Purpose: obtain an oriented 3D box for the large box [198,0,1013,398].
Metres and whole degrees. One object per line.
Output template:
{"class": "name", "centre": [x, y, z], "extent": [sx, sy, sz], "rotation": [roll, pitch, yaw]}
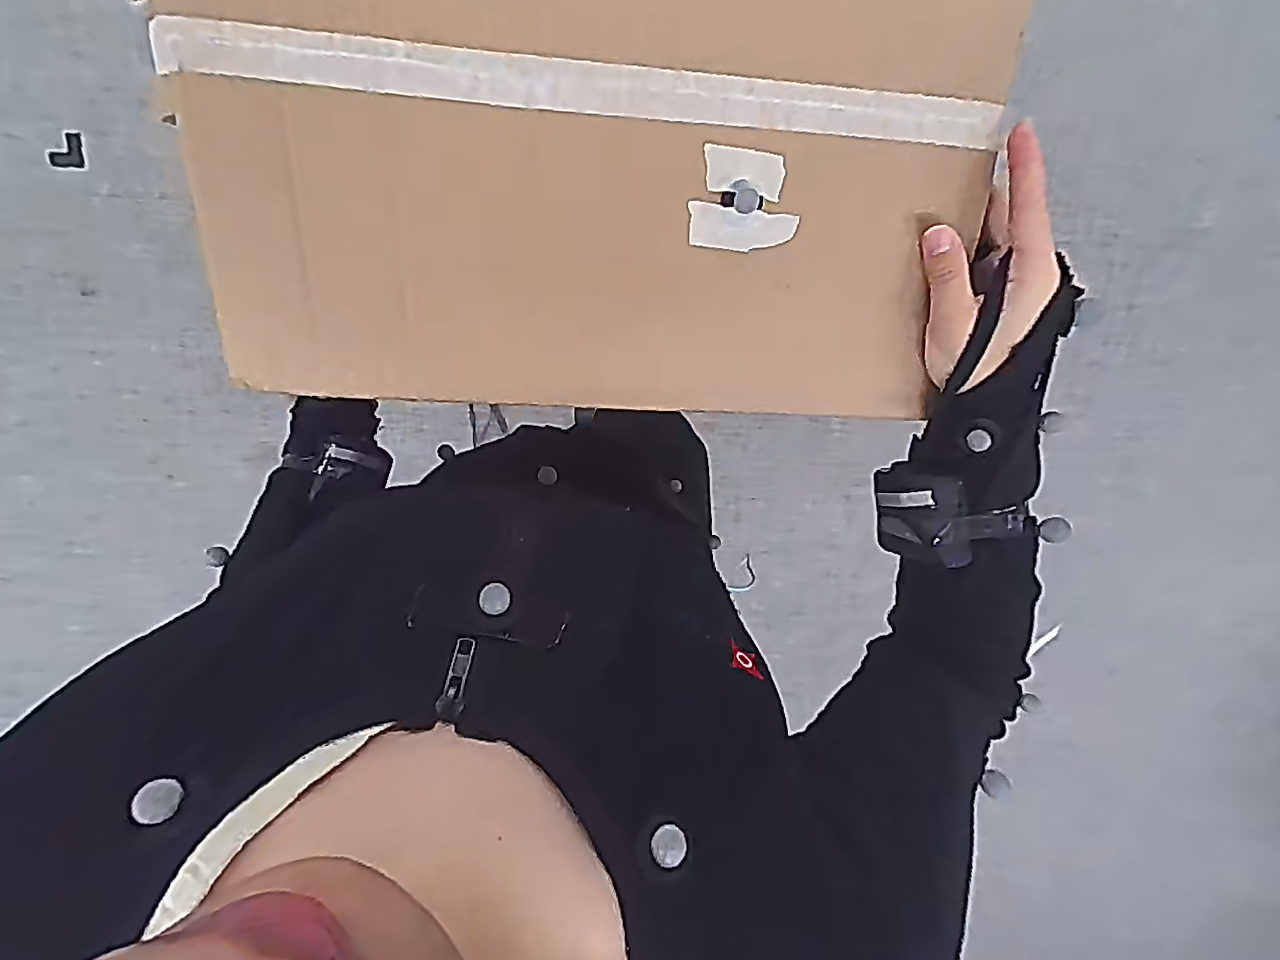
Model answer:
{"class": "large box", "centre": [-0.025, -0.244, 0.417], "extent": [0.408, 0.320, 0.320], "rotation": [1, 109, -7]}
